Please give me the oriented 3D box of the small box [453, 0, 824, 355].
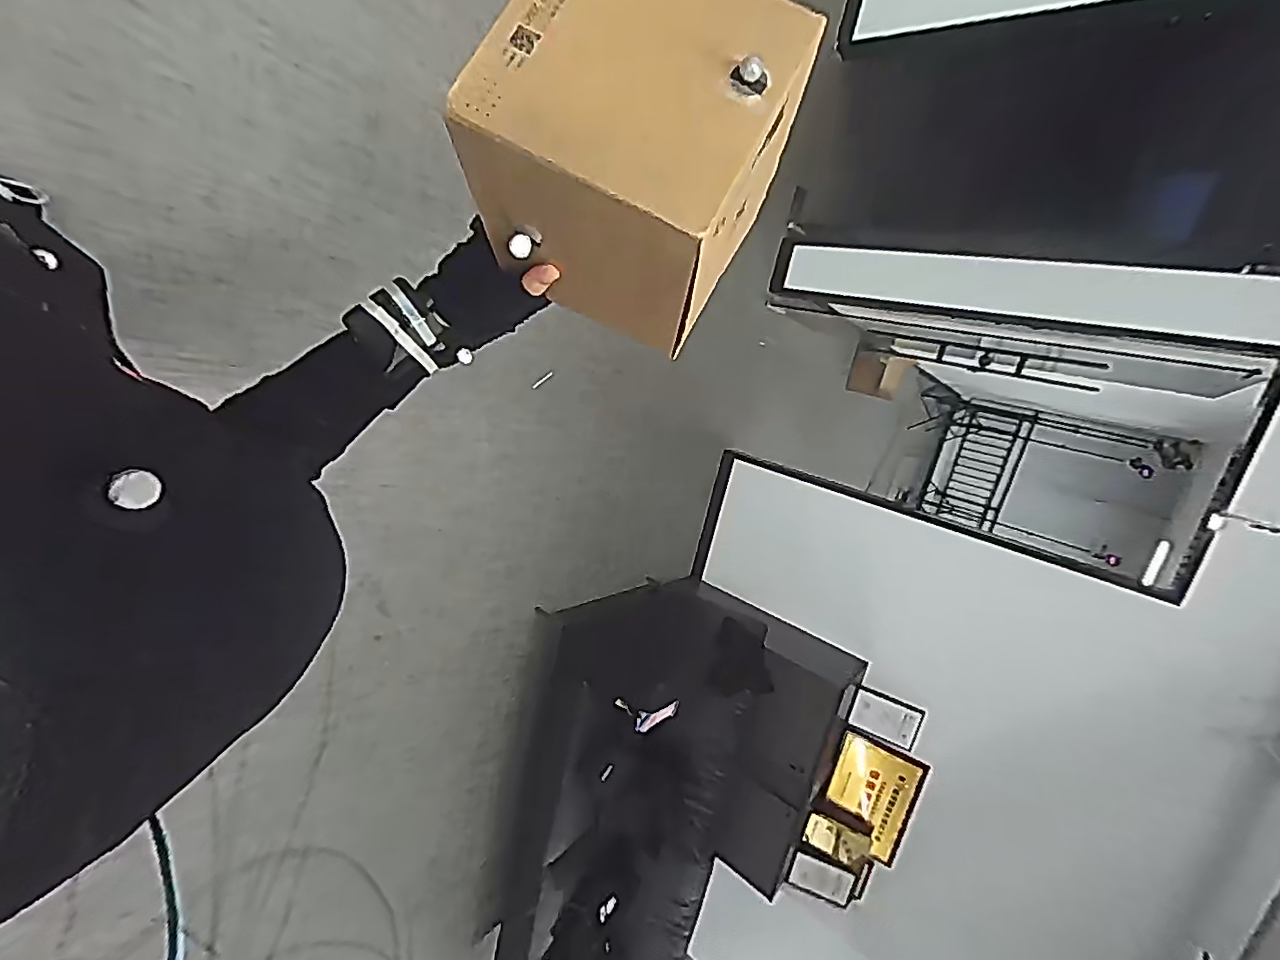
[{"bbox_3d":[-0.005,-0.225,0.391,0.168,0.176,0.179,-63,179,-10],"label":"small box"}]
